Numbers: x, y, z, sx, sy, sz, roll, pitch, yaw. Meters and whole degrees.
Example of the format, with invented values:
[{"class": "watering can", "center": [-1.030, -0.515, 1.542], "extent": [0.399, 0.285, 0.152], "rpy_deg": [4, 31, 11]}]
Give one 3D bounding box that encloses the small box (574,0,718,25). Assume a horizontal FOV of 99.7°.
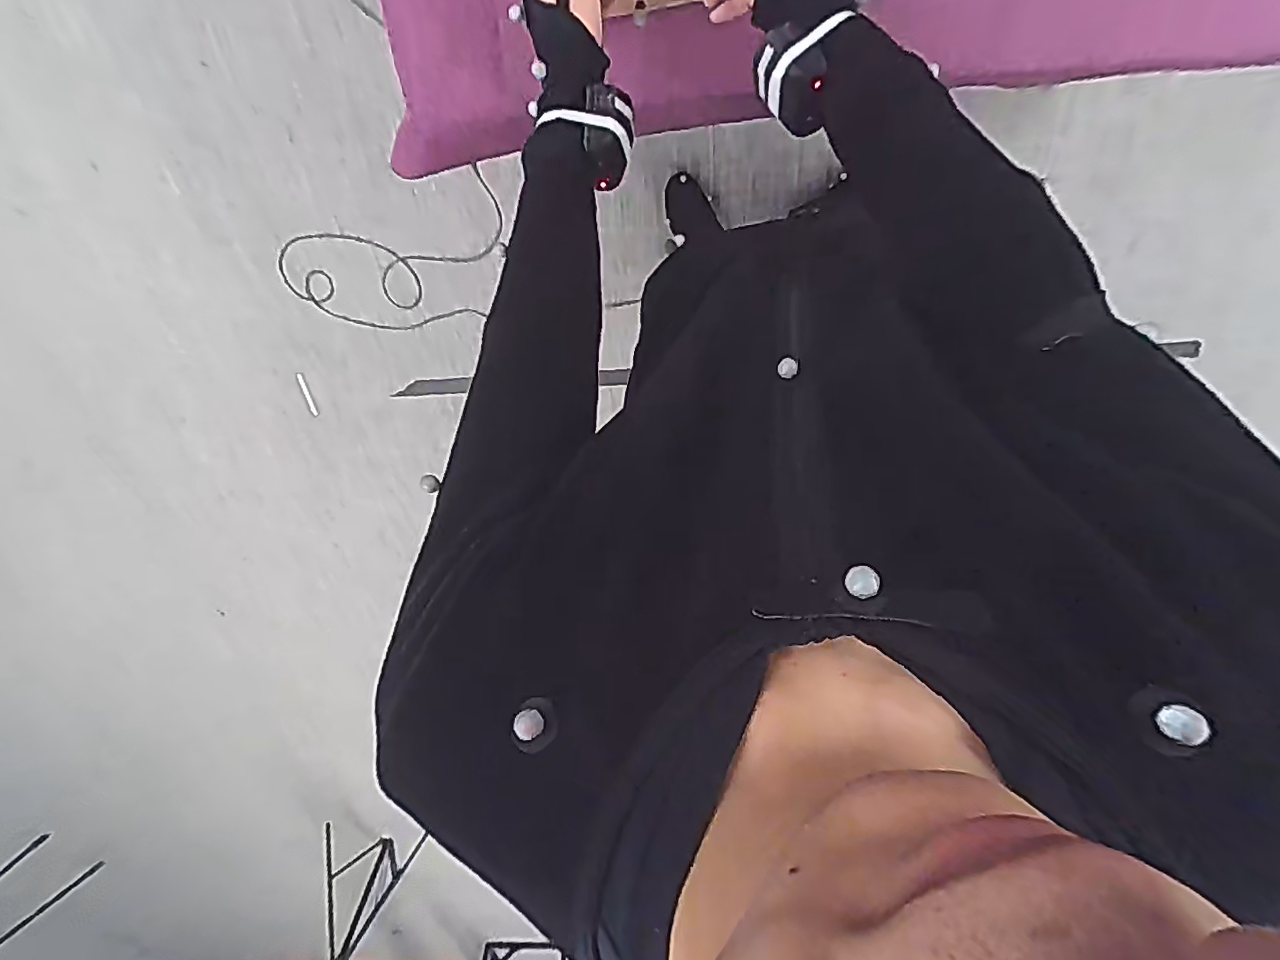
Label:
[{"class": "small box", "center": [0.000, -0.547, 0.483], "extent": [0.168, 0.176, 0.179], "rpy_deg": [-5, 120, 6]}]
